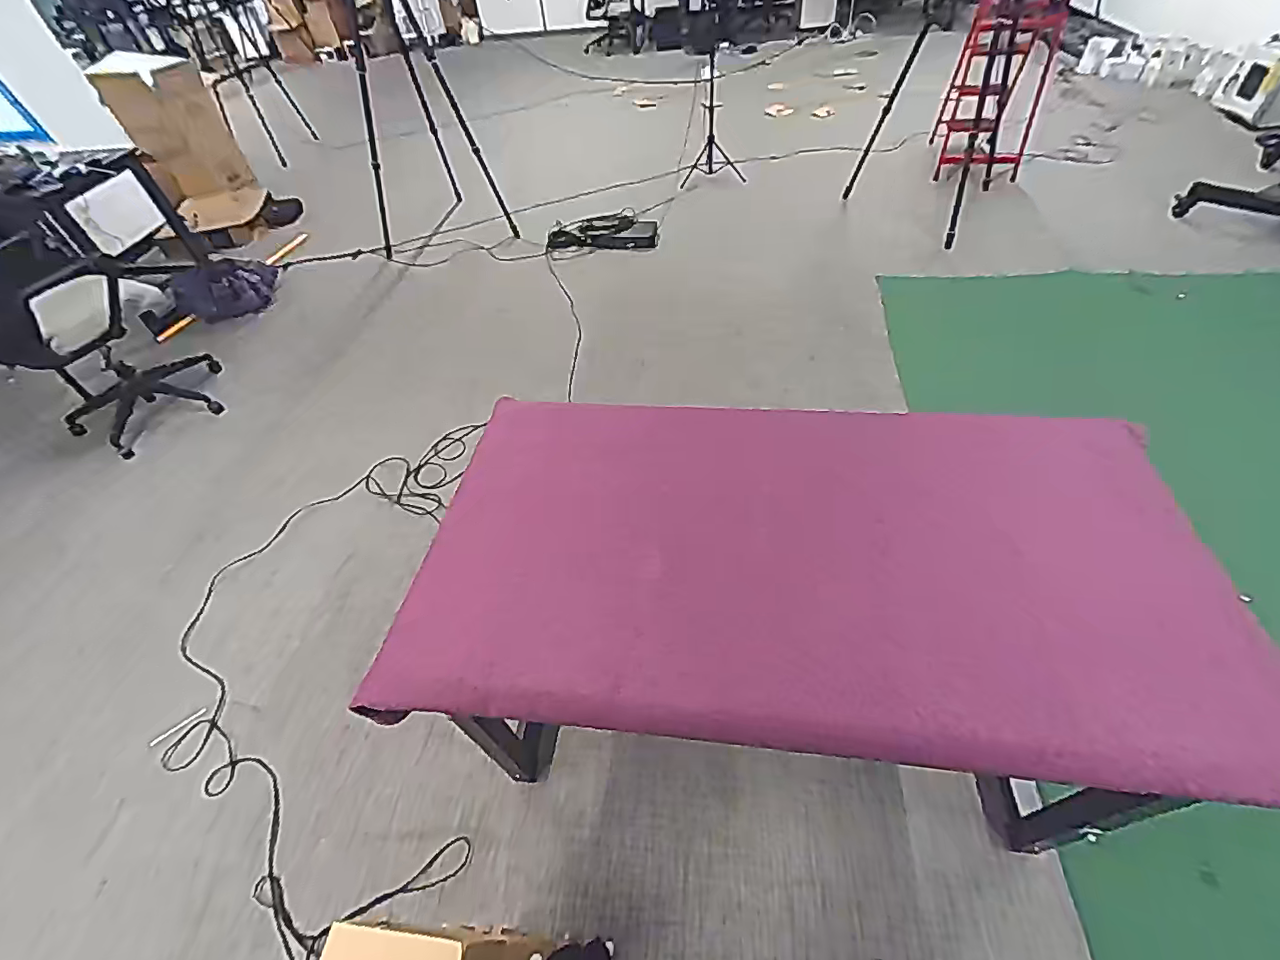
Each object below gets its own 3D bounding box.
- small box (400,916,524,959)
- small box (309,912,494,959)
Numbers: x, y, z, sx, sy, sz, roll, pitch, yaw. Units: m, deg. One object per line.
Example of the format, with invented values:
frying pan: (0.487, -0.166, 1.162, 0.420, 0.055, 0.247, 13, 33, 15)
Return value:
small box: (-0.279, 0.758, 0.785, 0.168, 0.176, 0.179, 2, 51, 8)
small box: (-0.304, 0.650, 0.663, 0.179, 0.176, 0.168, 3, 51, 8)
